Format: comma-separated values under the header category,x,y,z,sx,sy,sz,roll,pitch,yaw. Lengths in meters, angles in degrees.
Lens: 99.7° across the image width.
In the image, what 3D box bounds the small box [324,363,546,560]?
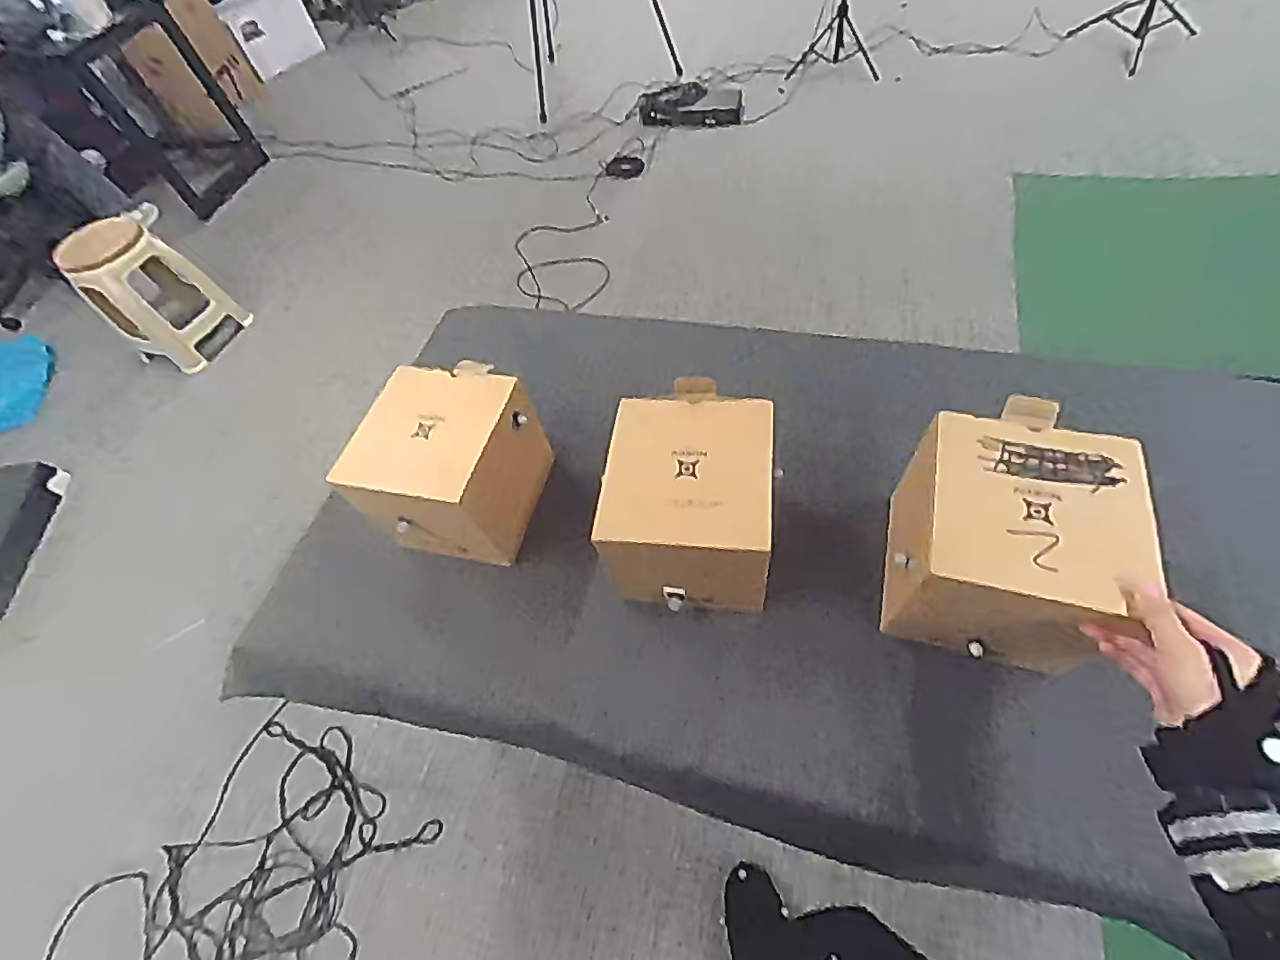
category,x,y,z,sx,sy,sz,roll,pitch,yaw
small box,-0.231,-0.019,0.667,0.168,0.176,0.179,7,58,13

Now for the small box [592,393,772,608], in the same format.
category,x,y,z,sx,sy,sz,roll,pitch,yaw
small box,0.056,0.024,0.594,0.168,0.176,0.179,1,58,11
